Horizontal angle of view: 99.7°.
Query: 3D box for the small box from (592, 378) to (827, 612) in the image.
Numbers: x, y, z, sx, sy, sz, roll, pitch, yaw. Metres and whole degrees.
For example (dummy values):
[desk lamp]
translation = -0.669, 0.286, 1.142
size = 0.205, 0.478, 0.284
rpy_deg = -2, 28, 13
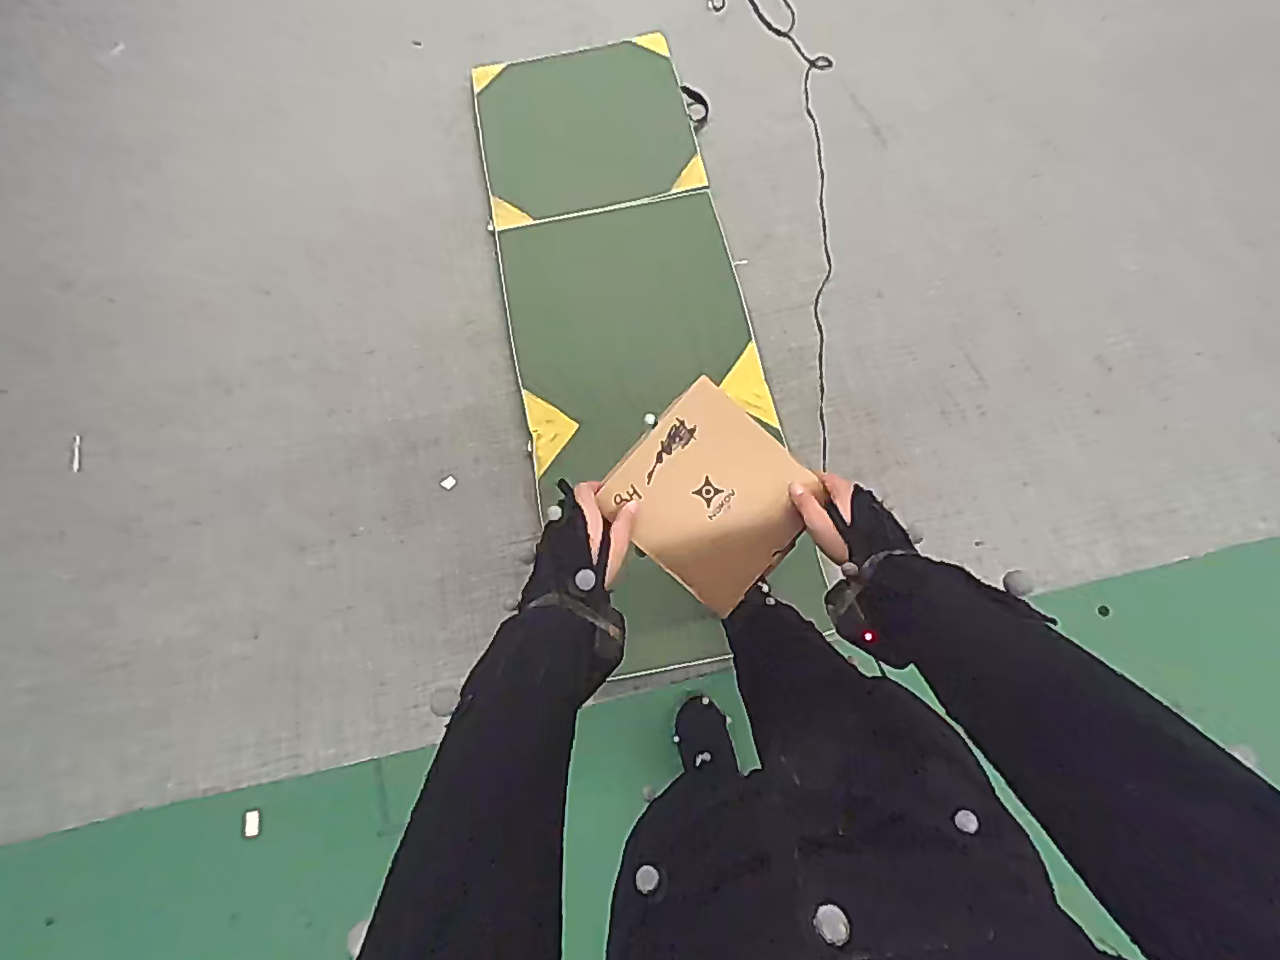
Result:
[small box]
translation = 0.065, 0.012, 0.605
size = 0.179, 0.176, 0.168
rpy_deg = 42, 88, -4
